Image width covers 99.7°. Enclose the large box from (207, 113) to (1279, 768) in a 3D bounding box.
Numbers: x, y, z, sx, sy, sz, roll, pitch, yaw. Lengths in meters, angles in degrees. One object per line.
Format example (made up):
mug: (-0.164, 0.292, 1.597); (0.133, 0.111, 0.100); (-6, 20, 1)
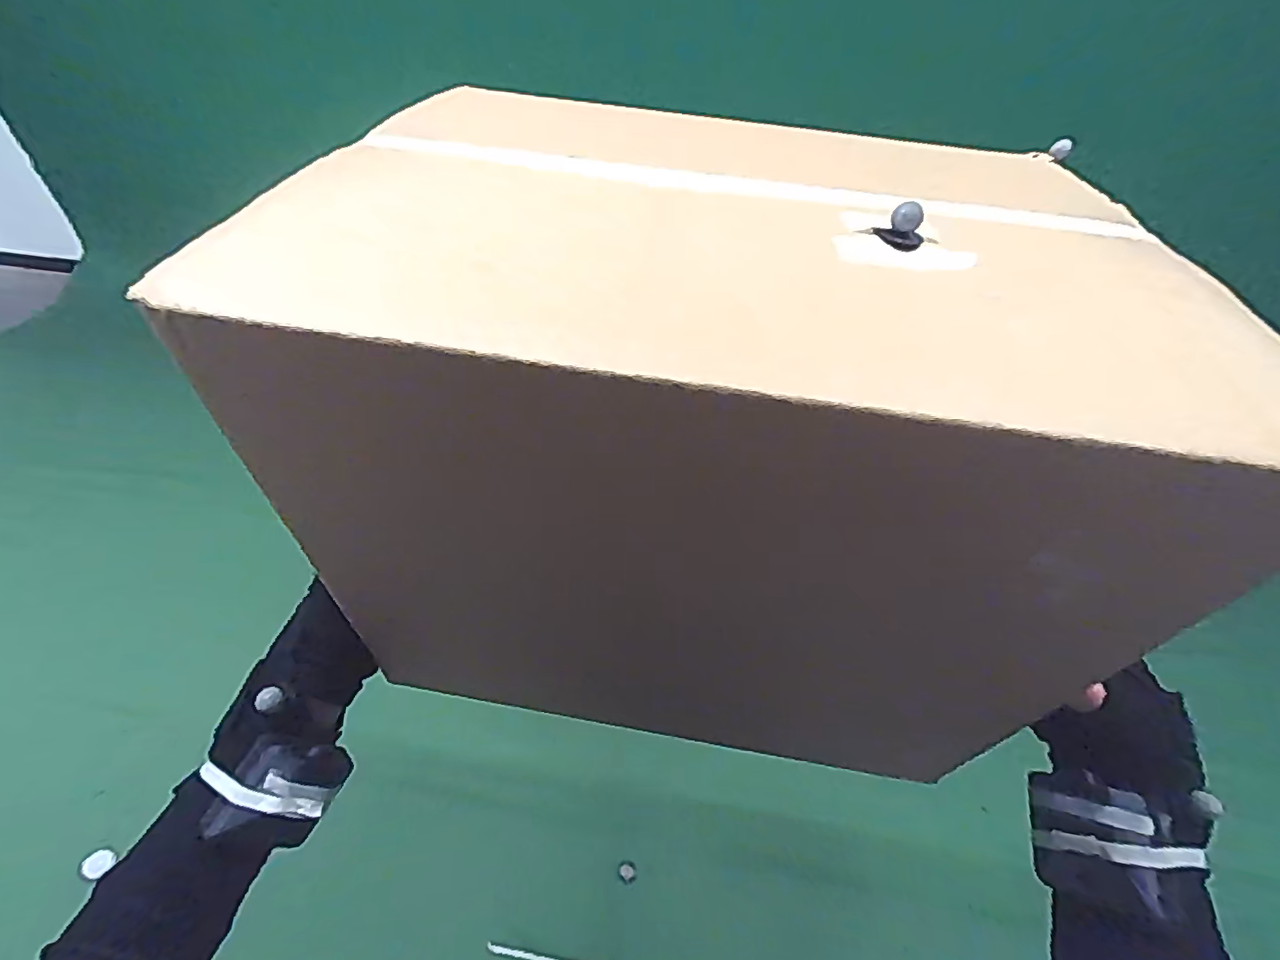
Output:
large box: (0.046, -0.030, 0.394); (0.408, 0.320, 0.320); (10, 47, 3)
